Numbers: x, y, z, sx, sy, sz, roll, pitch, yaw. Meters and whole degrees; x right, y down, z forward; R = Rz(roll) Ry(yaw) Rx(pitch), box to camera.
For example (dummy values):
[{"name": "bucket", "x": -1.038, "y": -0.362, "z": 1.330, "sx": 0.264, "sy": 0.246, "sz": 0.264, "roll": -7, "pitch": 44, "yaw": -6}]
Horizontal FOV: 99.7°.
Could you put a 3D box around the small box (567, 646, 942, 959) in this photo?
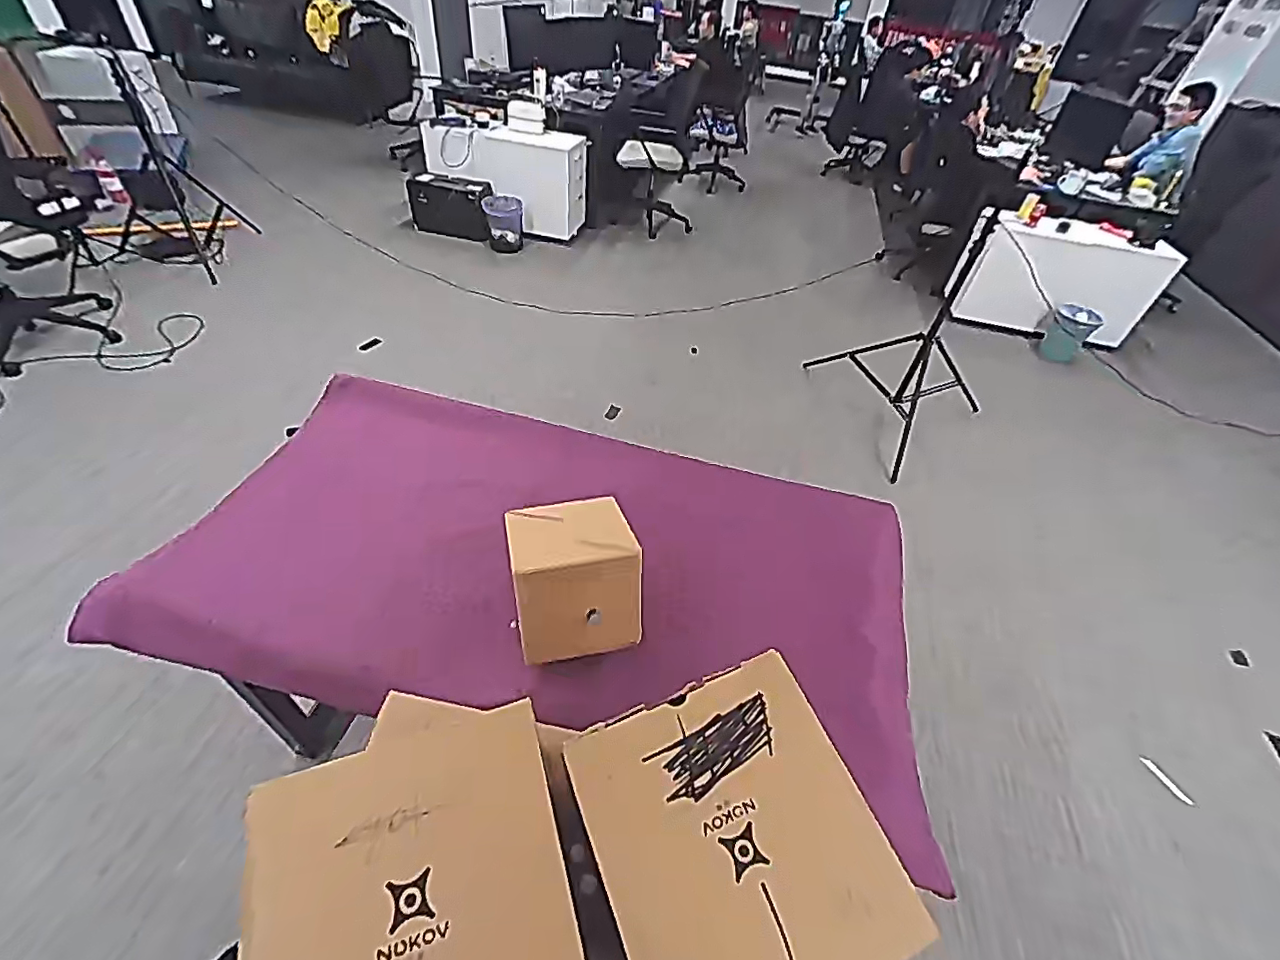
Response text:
[{"name": "small box", "x": 0.053, "y": 0.250, "z": 0.380, "sx": 0.168, "sy": 0.176, "sz": 0.179, "roll": -17, "pitch": 58, "yaw": -17}]

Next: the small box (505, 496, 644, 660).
[{"name": "small box", "x": -0.101, "y": 0.137, "z": 0.824, "sx": 0.179, "sy": 0.176, "sz": 0.168, "roll": -8, "pitch": 25, "yaw": -15}]

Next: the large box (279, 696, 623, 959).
[{"name": "large box", "x": -0.077, "y": 0.442, "z": 0.530, "sx": 0.408, "sy": 0.320, "sz": 0.320, "roll": 11, "pitch": 54, "yaw": 1}]
